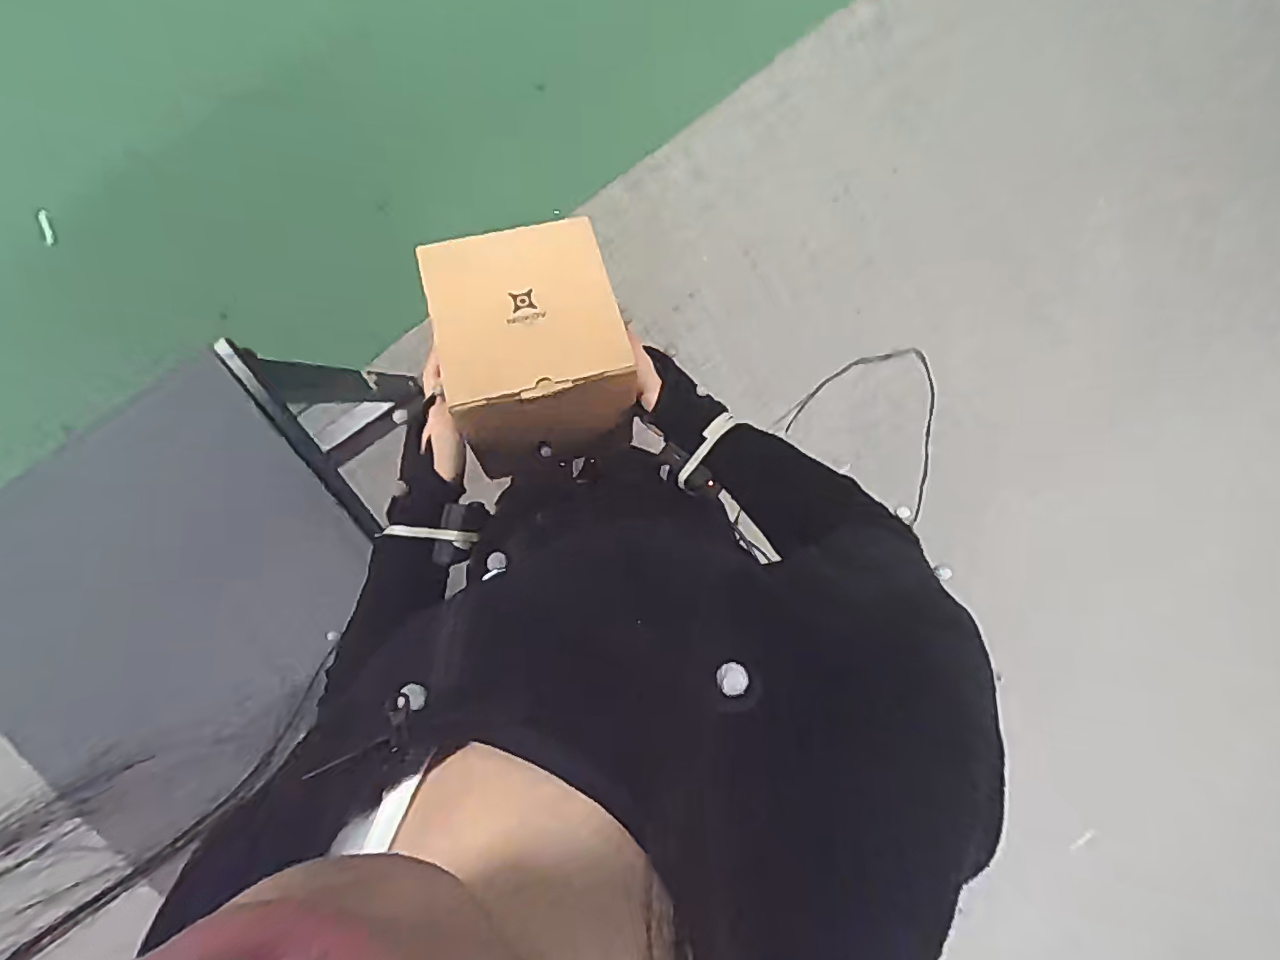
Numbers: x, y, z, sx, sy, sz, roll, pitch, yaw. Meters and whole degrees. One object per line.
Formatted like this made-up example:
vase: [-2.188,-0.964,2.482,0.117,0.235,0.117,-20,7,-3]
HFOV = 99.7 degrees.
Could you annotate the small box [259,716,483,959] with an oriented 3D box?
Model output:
small box: [-0.340,0.463,0.724,0.179,0.176,0.168,-35,99,2]

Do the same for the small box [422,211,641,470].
small box: [-0.104,-0.132,0.549,0.168,0.176,0.179,-14,72,-9]
